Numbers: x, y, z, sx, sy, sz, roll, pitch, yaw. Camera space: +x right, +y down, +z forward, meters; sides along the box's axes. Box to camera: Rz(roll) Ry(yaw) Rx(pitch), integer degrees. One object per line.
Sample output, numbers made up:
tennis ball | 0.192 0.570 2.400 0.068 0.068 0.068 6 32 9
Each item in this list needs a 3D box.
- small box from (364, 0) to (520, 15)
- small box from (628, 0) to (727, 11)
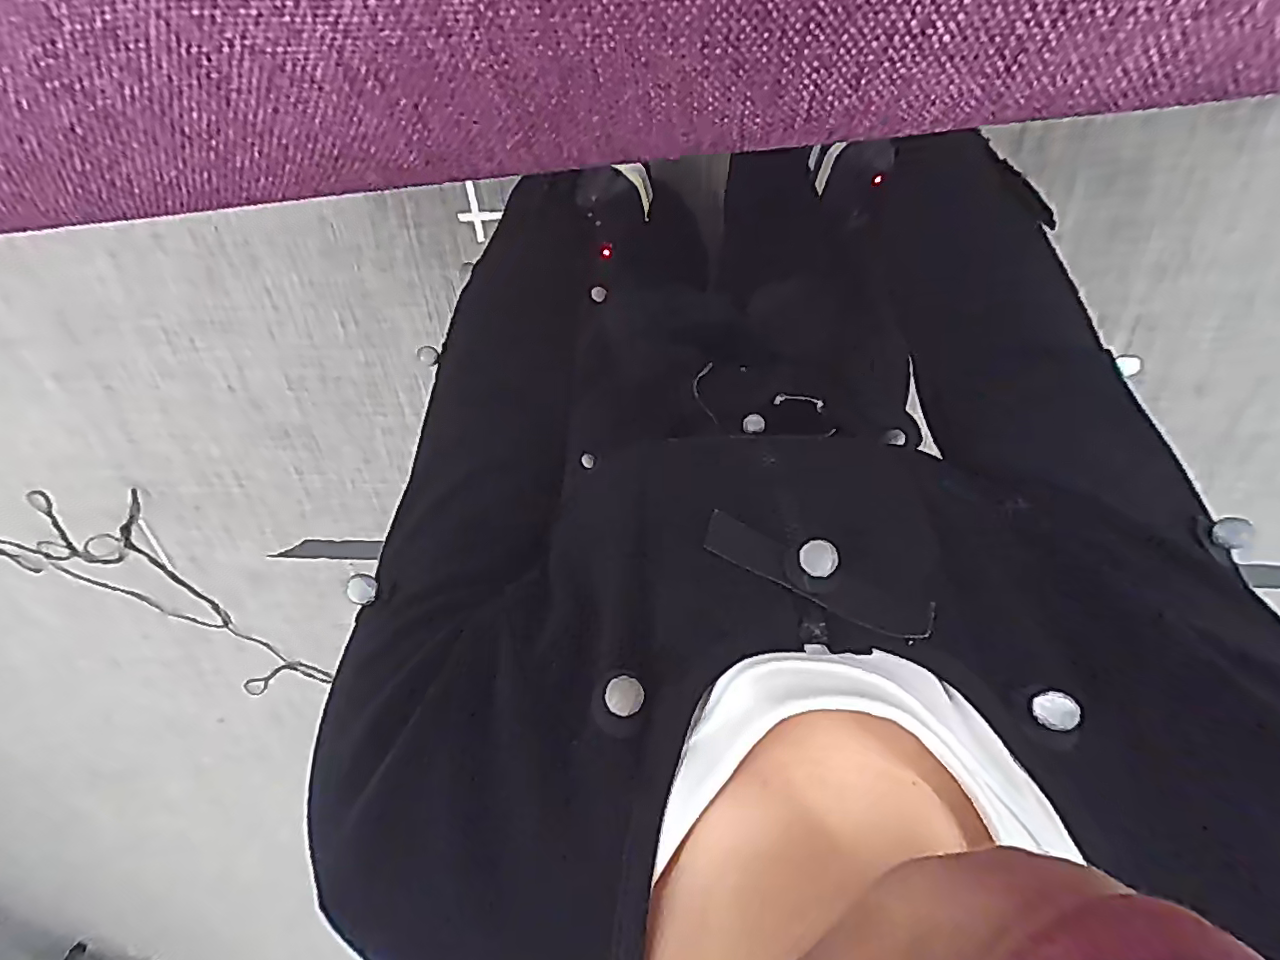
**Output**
small box | -0.185 -0.521 0.455 0.179 0.176 0.168 -1 121 8
small box | 0.071 -0.473 0.405 0.179 0.176 0.168 -4 130 8
